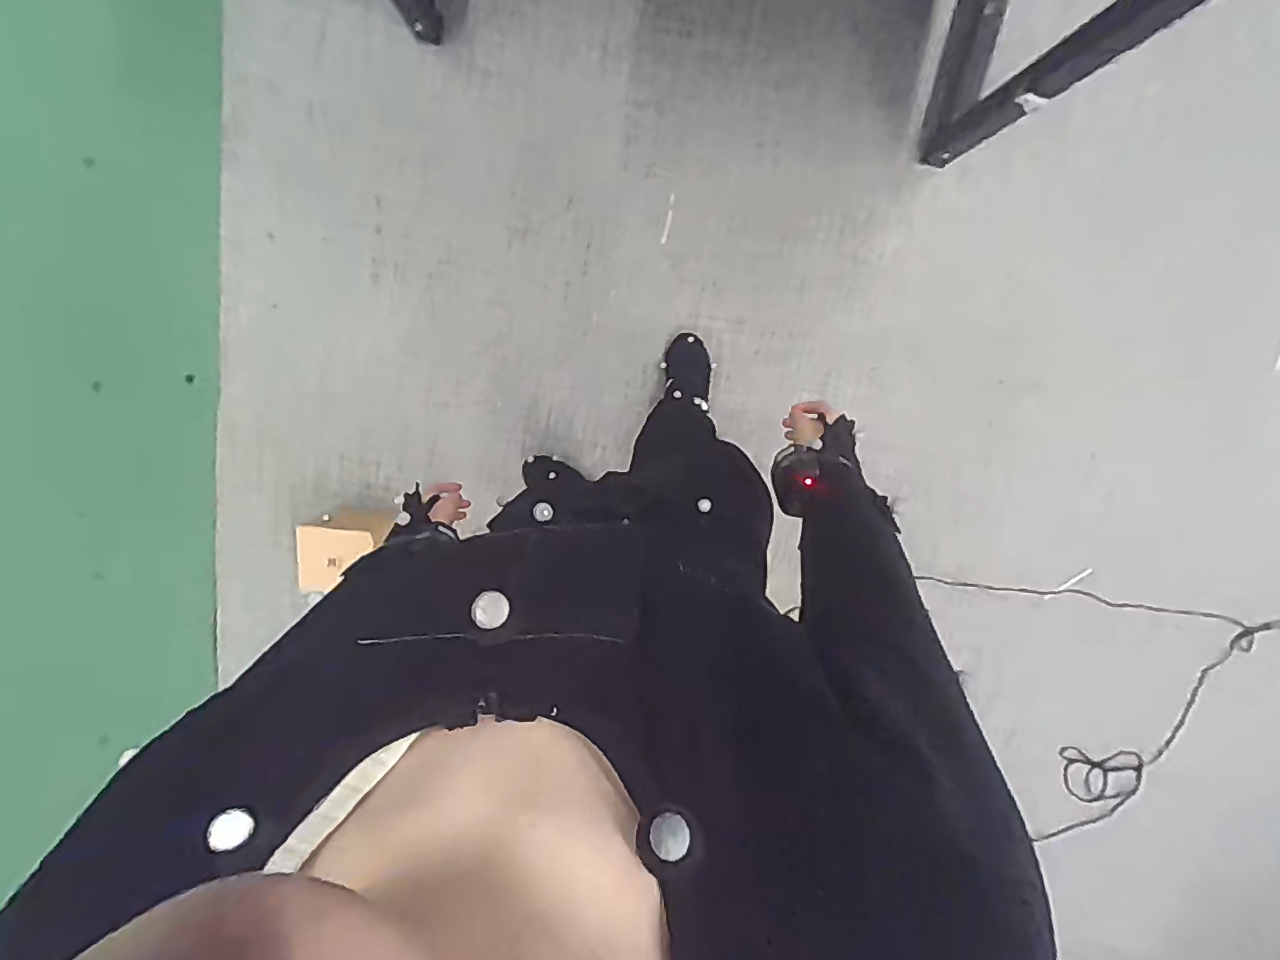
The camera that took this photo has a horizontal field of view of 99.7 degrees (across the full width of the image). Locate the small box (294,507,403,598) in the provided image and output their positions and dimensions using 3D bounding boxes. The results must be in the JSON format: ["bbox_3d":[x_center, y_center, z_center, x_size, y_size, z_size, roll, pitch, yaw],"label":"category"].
[{"bbox_3d":[-0.695,0.168,1.302,0.179,0.176,0.168,5,103,-2],"label":"small box"}]
